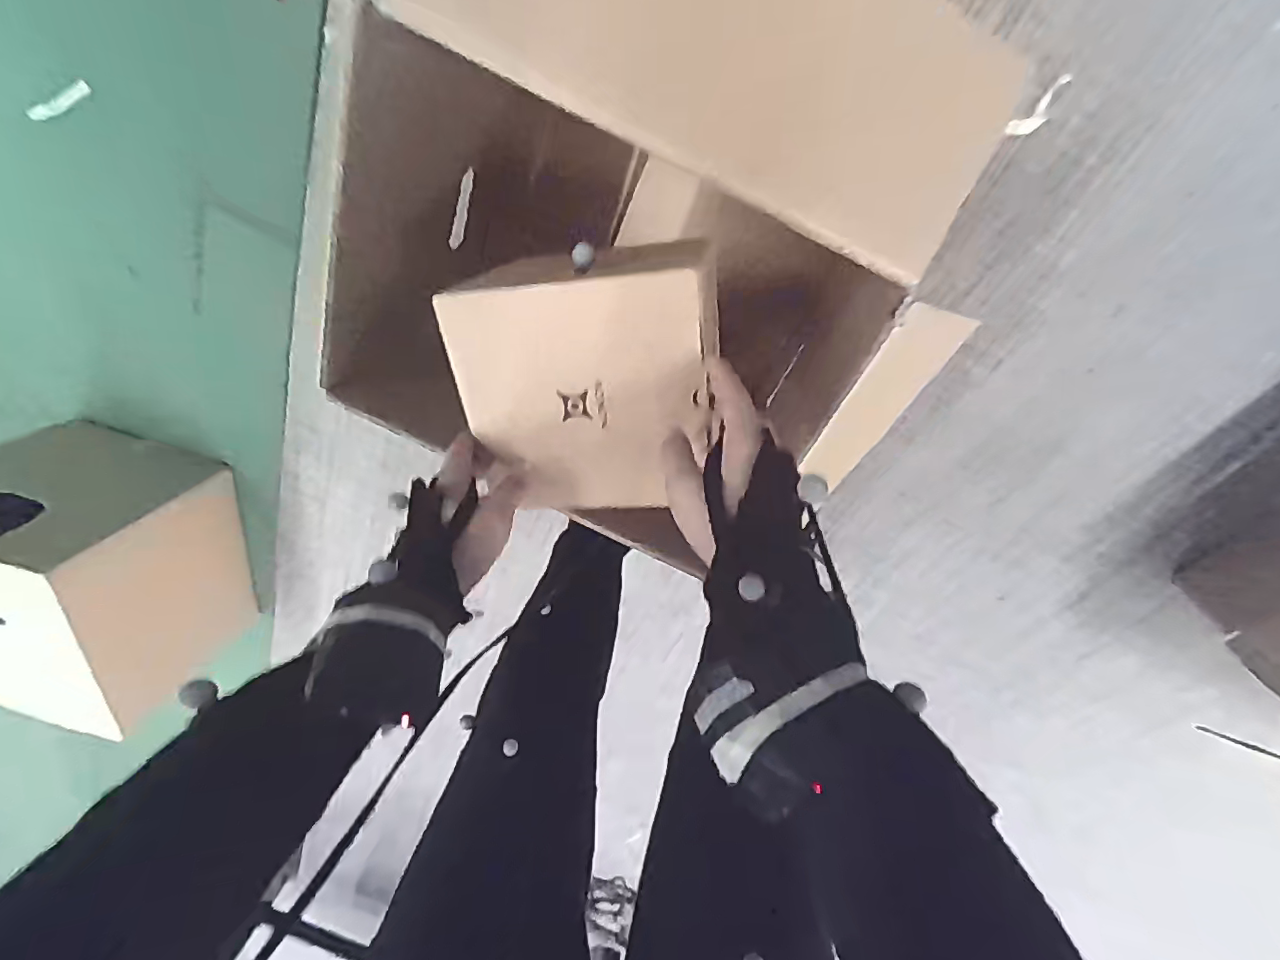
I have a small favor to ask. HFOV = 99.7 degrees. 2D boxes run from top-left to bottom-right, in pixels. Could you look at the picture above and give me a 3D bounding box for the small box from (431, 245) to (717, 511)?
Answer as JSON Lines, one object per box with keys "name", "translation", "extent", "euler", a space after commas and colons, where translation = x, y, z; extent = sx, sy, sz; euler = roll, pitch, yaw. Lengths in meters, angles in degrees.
{"name": "small box", "translation": [-0.030, -0.088, 0.435], "extent": [0.179, 0.176, 0.168], "euler": [-2, 118, 10]}
